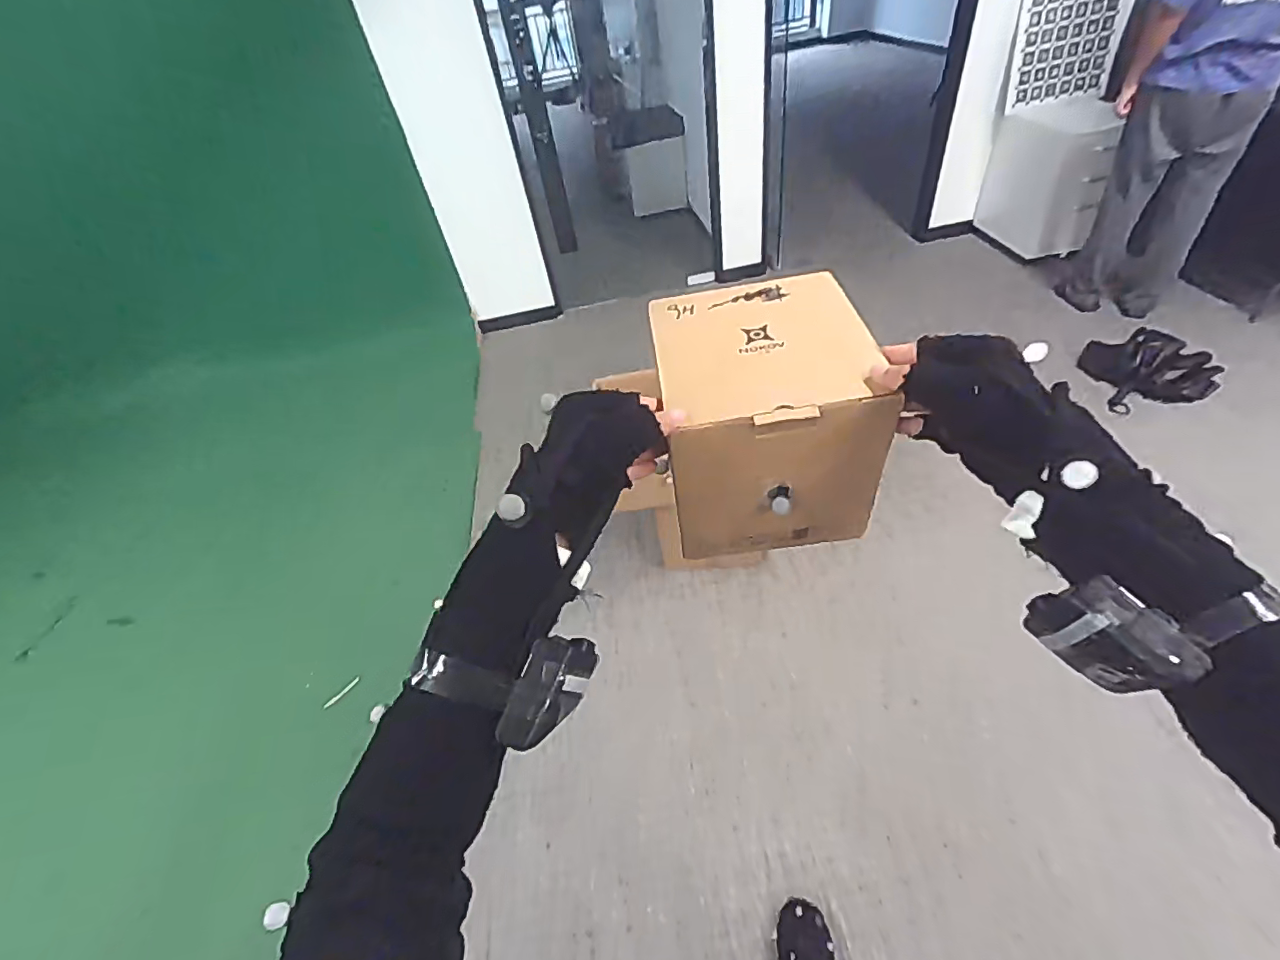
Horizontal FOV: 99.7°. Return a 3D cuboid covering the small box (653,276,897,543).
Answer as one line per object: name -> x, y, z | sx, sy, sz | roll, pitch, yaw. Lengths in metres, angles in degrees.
small box -> 0.108, -0.056, 0.495 | 0.168, 0.176, 0.179 | -8, 48, 3
